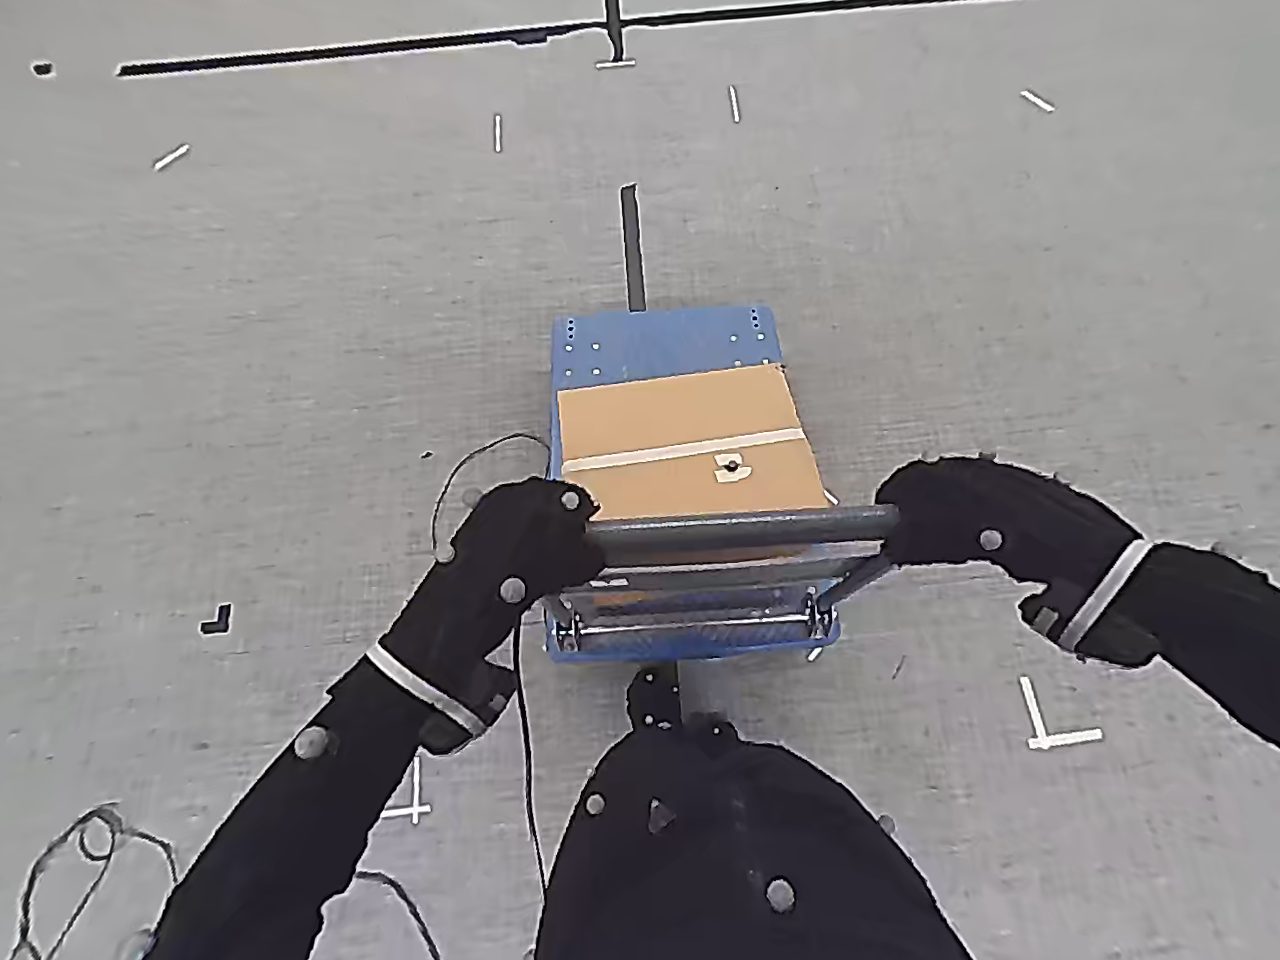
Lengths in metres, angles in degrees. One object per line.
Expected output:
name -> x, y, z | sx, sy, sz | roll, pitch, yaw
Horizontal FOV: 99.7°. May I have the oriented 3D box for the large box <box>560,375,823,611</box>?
large box -> 0.075, 0.037, 1.045 | 0.408, 0.320, 0.320 | -8, 63, -4
